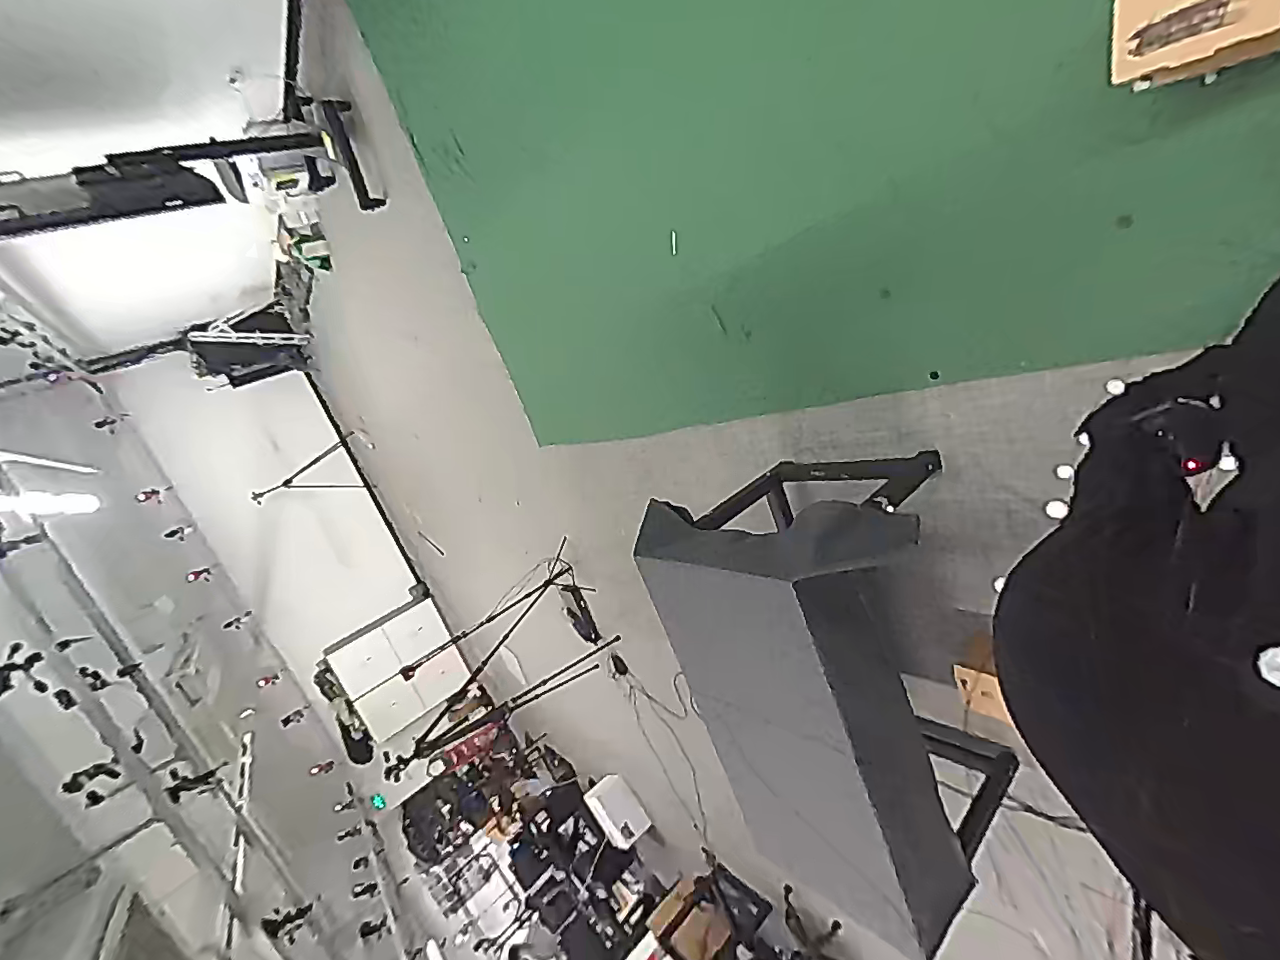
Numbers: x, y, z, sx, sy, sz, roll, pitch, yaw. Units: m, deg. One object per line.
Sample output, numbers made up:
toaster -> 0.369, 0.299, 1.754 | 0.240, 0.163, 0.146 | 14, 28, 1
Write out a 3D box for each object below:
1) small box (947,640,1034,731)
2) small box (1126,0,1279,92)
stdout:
small box -> 1.059, 0.607, 1.623 | 0.179, 0.176, 0.168 | 3, 118, 52
small box -> 0.876, -0.723, 0.824 | 0.168, 0.176, 0.179 | 13, 127, 49
